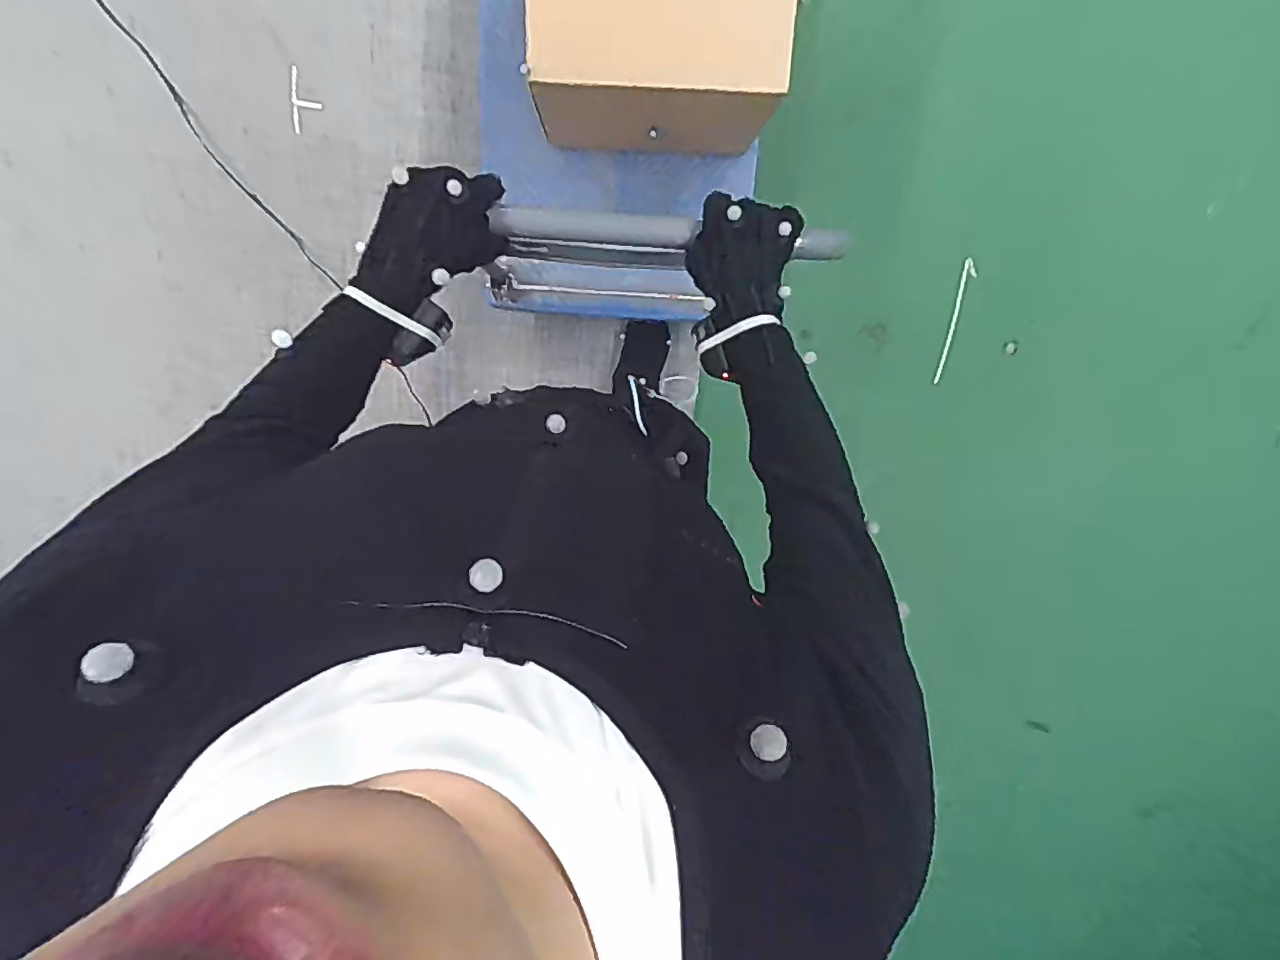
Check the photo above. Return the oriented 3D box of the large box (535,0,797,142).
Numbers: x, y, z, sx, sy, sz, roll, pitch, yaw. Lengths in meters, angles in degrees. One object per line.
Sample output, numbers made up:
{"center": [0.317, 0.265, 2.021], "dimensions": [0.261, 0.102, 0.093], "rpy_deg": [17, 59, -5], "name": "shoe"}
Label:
{"center": [0.039, -0.808, 0.943], "dimensions": [0.408, 0.320, 0.320], "rpy_deg": [0, 106, -1], "name": "large box"}
